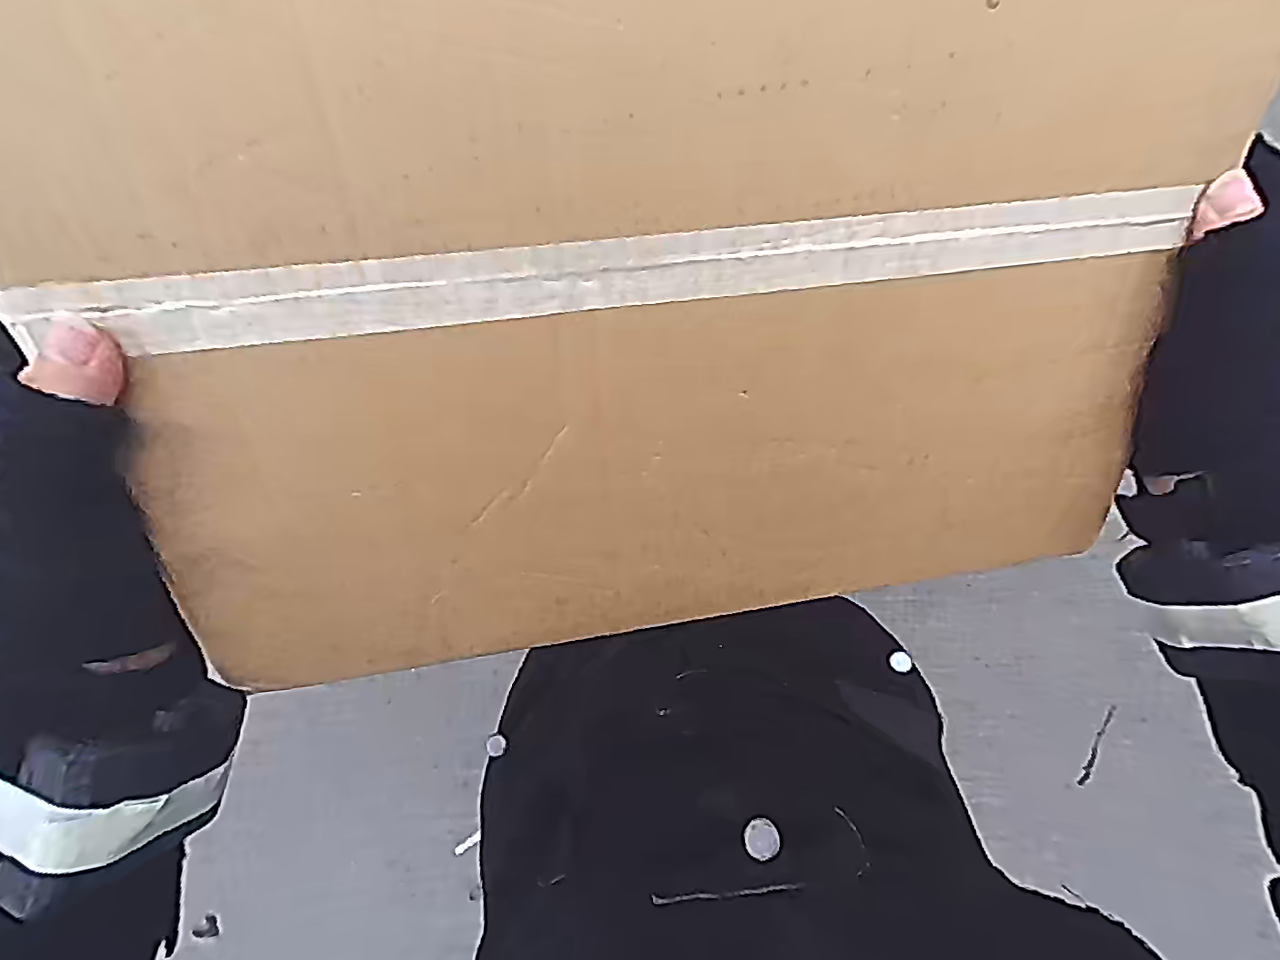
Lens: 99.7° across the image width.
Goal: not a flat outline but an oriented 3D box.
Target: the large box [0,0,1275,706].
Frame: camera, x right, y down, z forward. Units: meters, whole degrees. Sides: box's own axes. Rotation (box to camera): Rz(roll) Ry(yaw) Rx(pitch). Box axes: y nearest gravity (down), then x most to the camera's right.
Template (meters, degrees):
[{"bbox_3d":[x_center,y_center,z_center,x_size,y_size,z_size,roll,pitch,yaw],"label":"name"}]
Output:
[{"bbox_3d":[-0.008,-0.131,0.321,0.408,0.320,0.320,-9,118,-7],"label":"large box"}]
